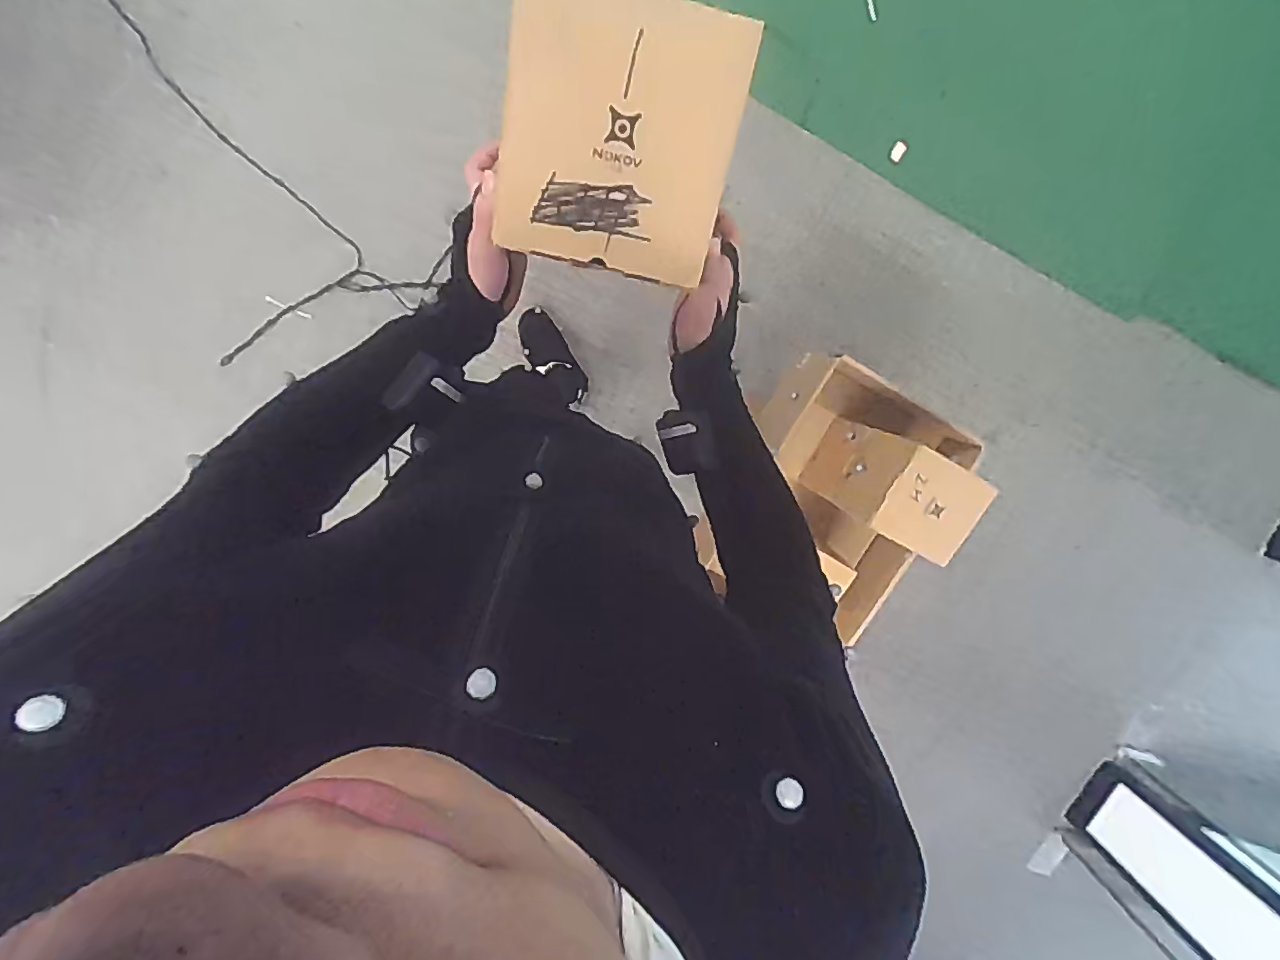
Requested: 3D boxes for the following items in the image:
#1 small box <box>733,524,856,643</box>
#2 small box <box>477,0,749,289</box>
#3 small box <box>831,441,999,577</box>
[{"bbox_3d":[0.332,0.220,1.198,0.179,0.176,0.168,30,100,-9],"label":"small box"},{"bbox_3d":[-0.027,-0.275,0.447,0.168,0.176,0.179,10,116,-7],"label":"small box"},{"bbox_3d":[0.492,0.044,0.994,0.179,0.176,0.168,28,100,-10],"label":"small box"}]
